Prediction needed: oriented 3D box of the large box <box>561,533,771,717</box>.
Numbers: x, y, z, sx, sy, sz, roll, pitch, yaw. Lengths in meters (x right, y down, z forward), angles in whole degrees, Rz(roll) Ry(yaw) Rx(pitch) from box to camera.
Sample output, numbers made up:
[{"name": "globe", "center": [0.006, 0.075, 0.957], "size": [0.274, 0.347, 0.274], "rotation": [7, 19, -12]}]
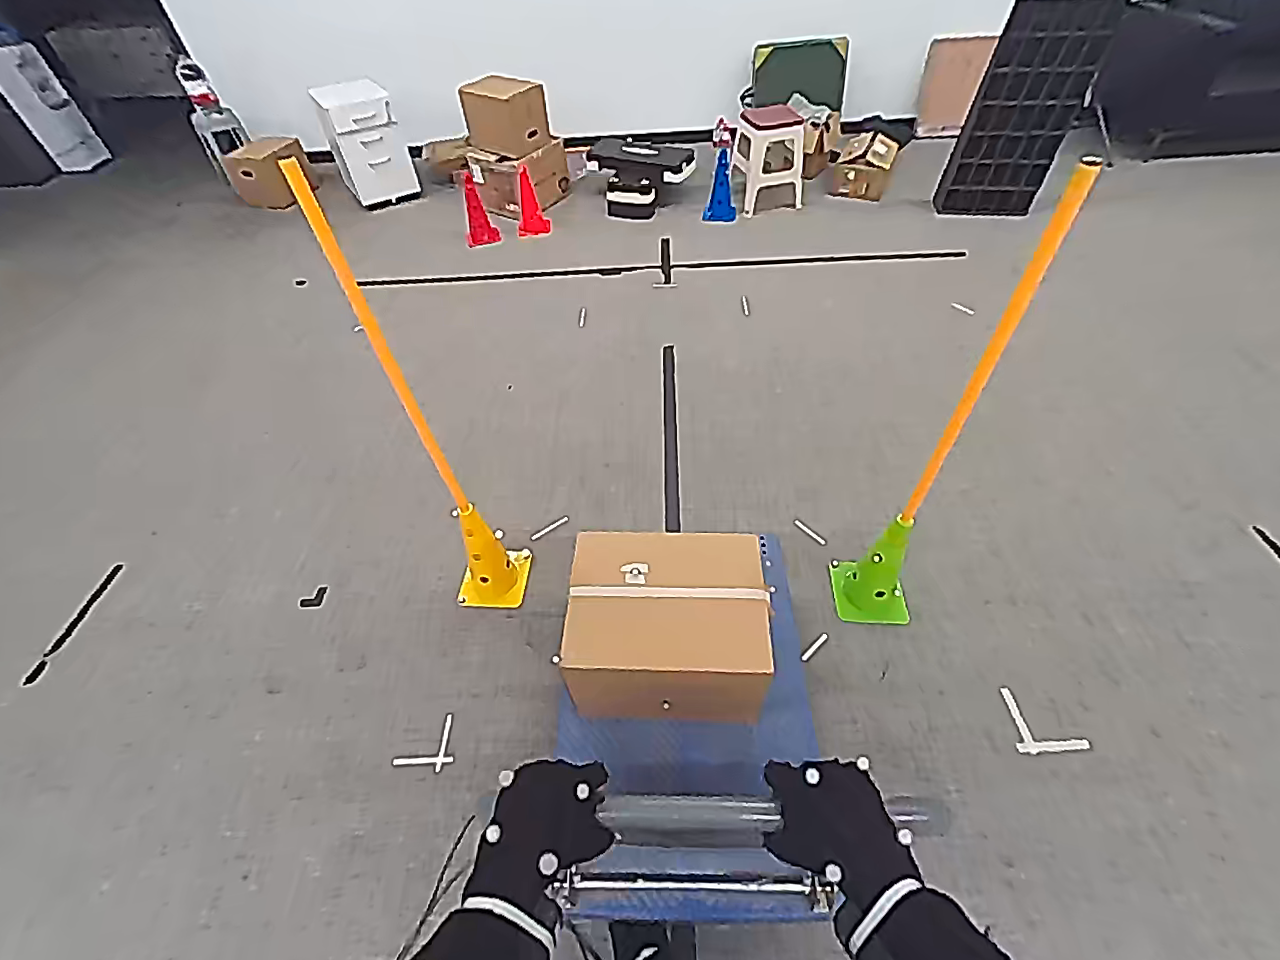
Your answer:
[{"name": "large box", "center": [0.062, 0.333, 1.223], "size": [0.408, 0.320, 0.320], "rotation": [0, 49, 4]}]

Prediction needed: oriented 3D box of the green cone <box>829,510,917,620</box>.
[{"name": "green cone", "center": [0.671, 0.210, 1.480], "size": [0.202, 0.368, 0.200], "rotation": [2, 49, 4]}]
